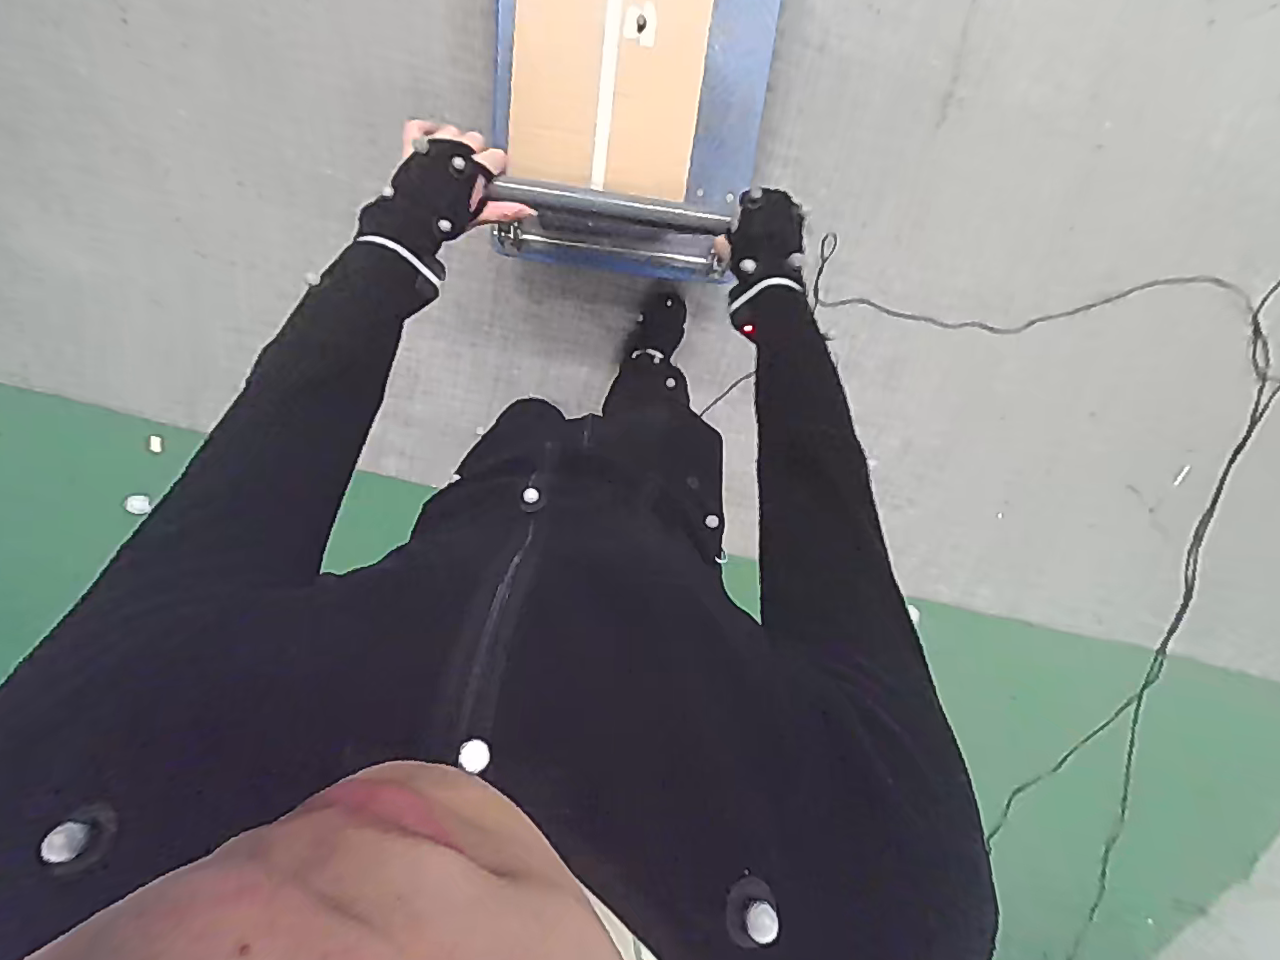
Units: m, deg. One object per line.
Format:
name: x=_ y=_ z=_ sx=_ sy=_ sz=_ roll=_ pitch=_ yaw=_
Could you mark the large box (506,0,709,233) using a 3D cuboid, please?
large box: x=-0.060 y=-0.723 z=1.035 sx=0.320 sy=0.320 sz=0.408 roll=7 pitch=108 yaw=-4
